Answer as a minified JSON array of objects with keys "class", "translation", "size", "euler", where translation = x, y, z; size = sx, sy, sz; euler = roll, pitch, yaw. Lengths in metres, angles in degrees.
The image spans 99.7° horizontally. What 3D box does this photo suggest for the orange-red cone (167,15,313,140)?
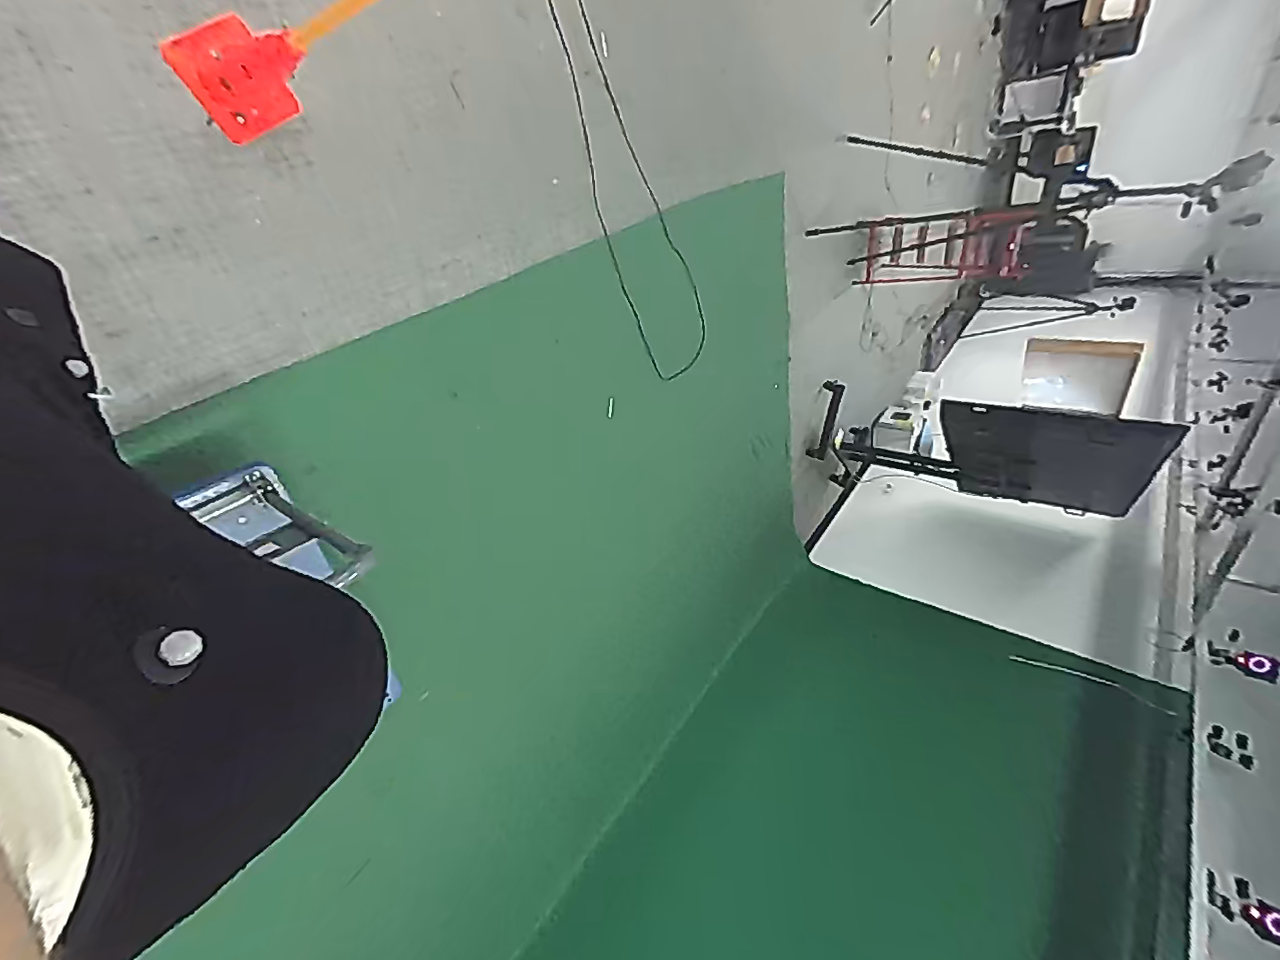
[{"class":"orange-red cone","translation":[-0.771,-0.866,1.118],"size":[0.199,0.360,0.198],"euler":[-54,140,-26]}]
